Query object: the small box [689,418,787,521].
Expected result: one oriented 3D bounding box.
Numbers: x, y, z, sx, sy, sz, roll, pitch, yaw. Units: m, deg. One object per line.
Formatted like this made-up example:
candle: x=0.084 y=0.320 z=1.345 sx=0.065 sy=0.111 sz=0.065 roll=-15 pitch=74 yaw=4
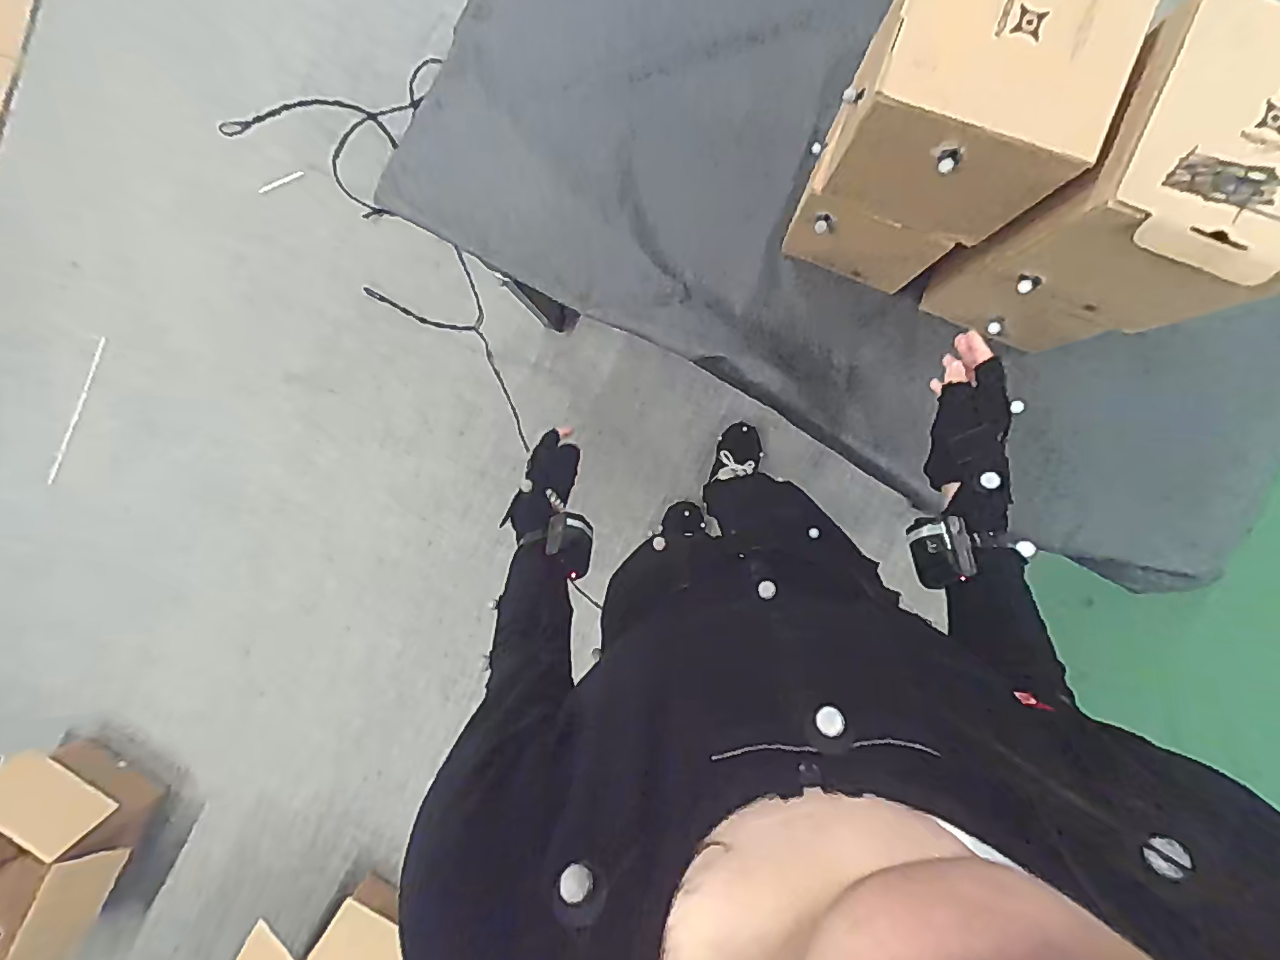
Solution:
small box: x=0.245 y=-0.024 z=1.403 sx=0.179 sy=0.176 sz=0.168 roll=-25 pitch=59 yaw=-18
